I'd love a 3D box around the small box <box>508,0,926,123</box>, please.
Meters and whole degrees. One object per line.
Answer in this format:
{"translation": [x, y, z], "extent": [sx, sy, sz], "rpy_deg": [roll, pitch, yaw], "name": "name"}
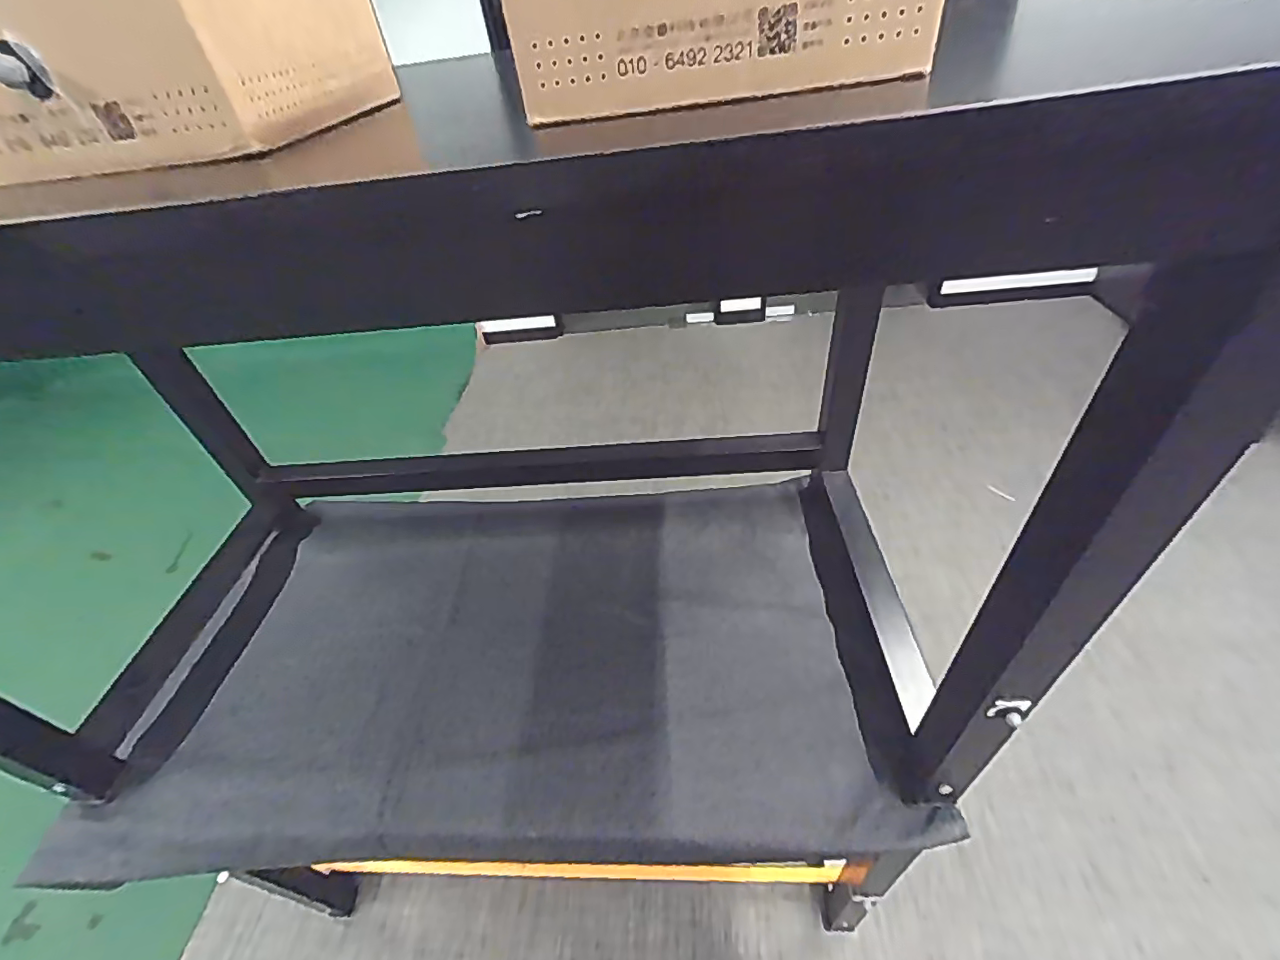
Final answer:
{"translation": [0.028, -0.269, 0.233], "extent": [0.168, 0.176, 0.179], "rpy_deg": [-2, 42, 6], "name": "small box"}
